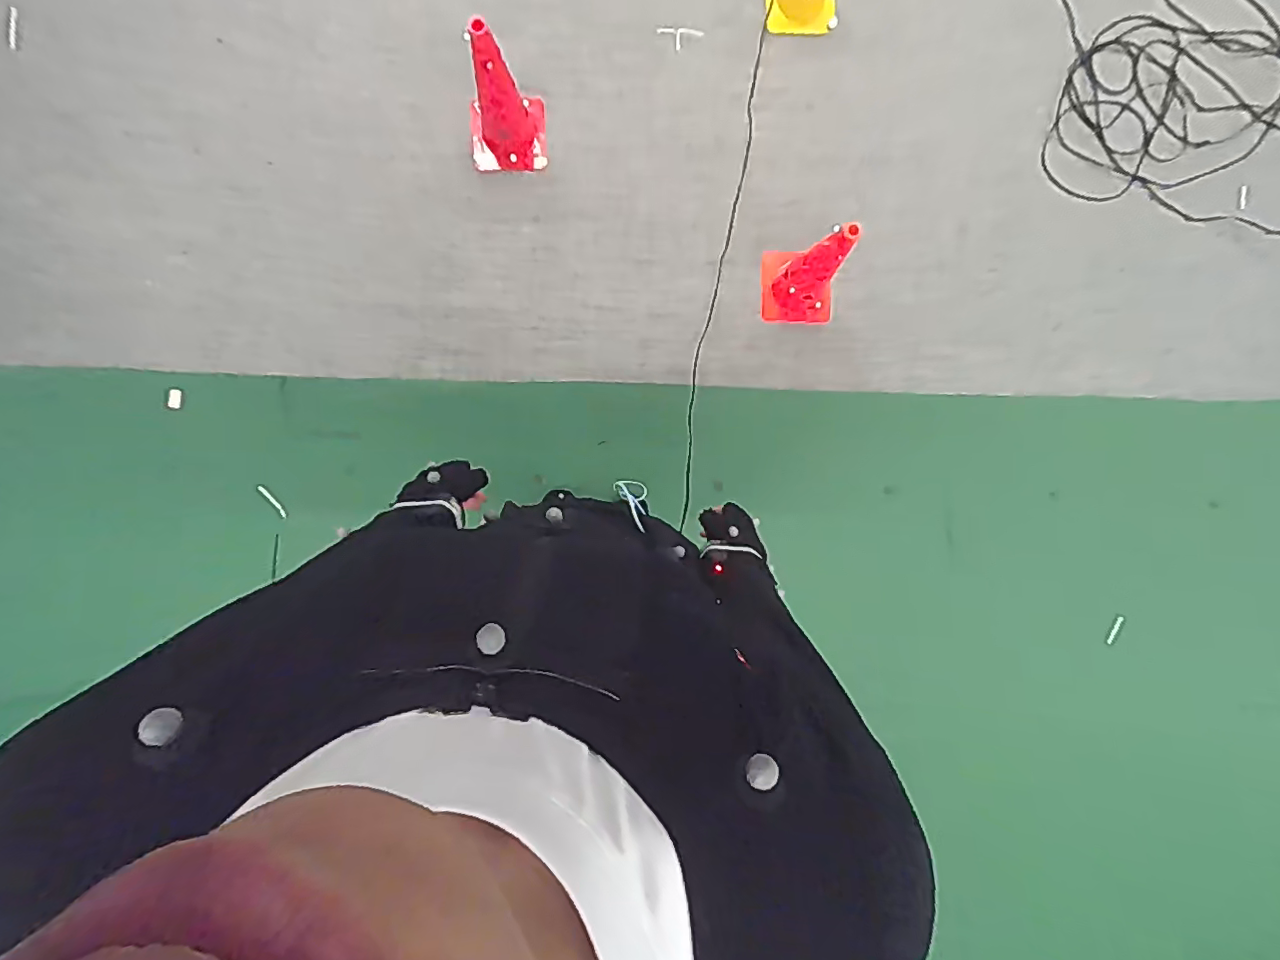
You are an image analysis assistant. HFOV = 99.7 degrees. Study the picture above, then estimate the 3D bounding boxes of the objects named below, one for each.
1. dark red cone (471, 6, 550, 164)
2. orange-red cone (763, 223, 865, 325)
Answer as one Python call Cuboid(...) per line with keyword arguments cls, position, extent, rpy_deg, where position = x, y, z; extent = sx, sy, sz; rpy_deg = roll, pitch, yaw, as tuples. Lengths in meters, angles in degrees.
Cuboid(cls="dark red cone", position=(-0.337, -0.944, 1.283), extent=(0.202, 0.394, 0.201), rpy_deg=(-4, 91, -3))
Cuboid(cls="orange-red cone", position=(0.458, -0.542, 1.351), extent=(0.198, 0.360, 0.199), rpy_deg=(2, 89, -4))
